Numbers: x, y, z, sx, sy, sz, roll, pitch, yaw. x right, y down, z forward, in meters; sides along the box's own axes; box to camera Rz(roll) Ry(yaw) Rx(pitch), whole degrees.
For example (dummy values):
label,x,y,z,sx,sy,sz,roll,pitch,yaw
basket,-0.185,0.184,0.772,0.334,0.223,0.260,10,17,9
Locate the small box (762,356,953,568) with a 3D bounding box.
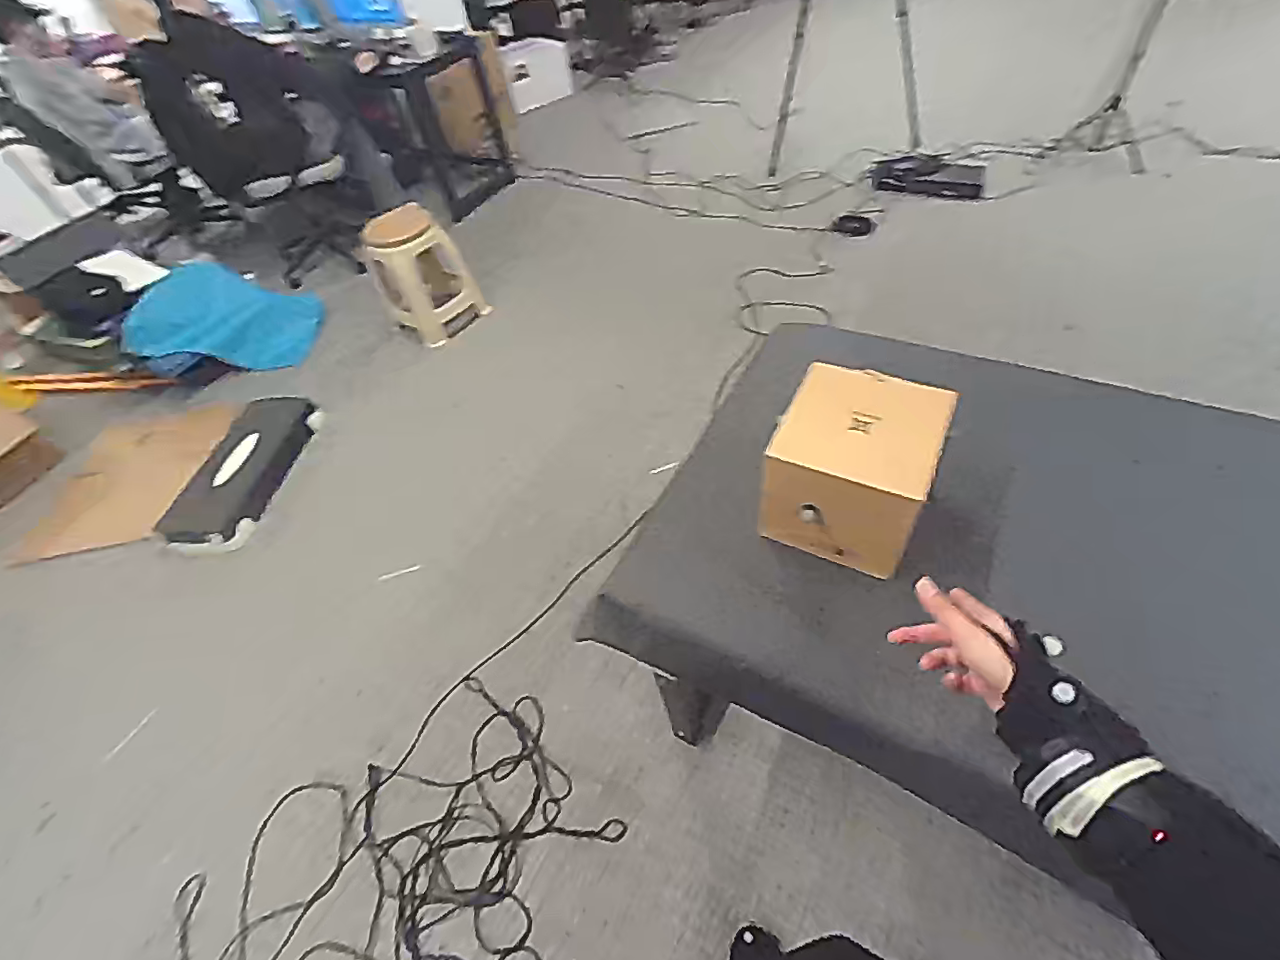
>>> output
label,x,y,z,sx,sy,sz,roll,pitch,yaw
small box,0.258,-0.020,0.666,0.168,0.176,0.179,19,56,23
